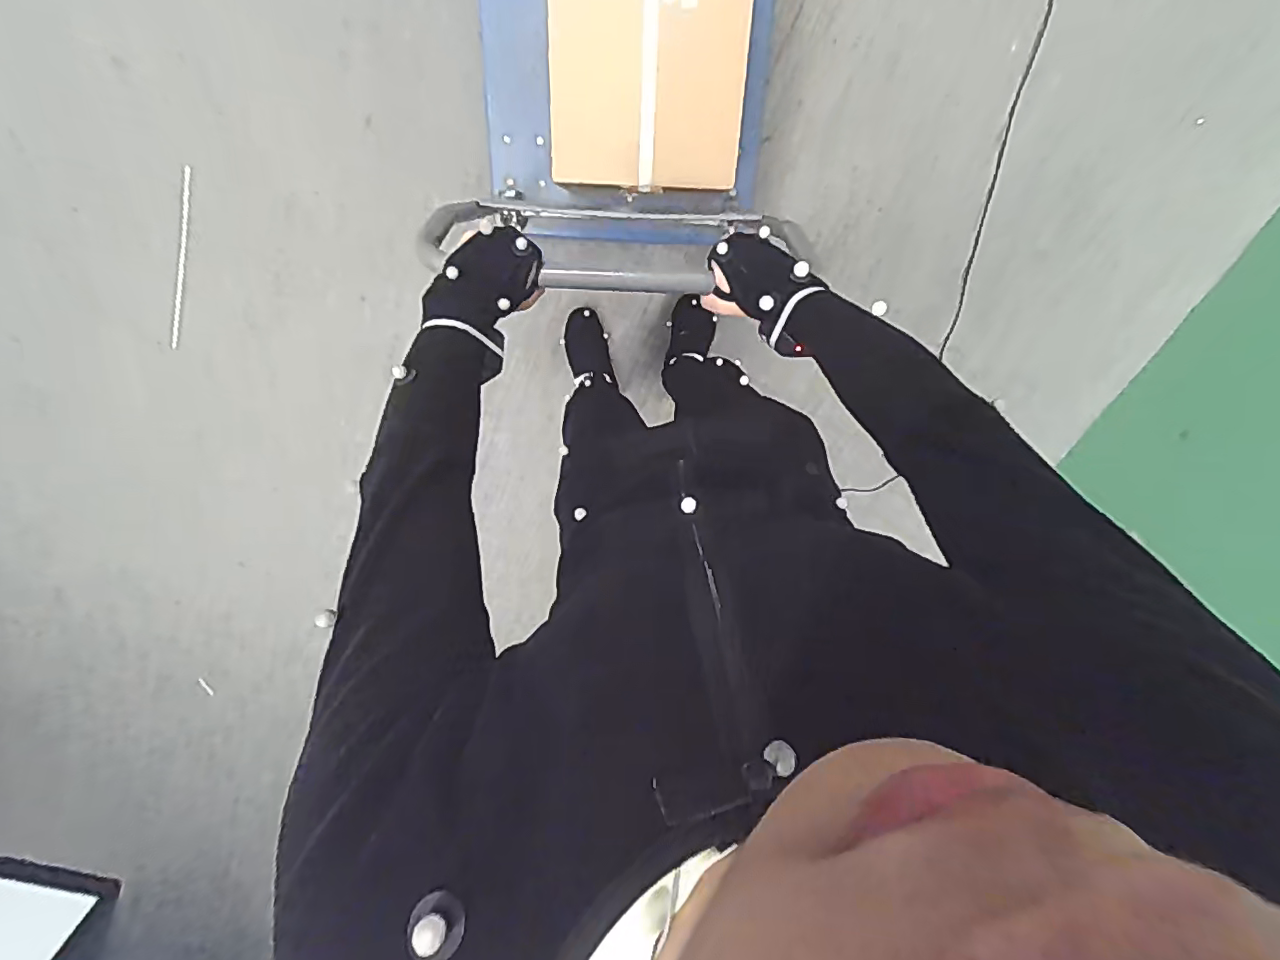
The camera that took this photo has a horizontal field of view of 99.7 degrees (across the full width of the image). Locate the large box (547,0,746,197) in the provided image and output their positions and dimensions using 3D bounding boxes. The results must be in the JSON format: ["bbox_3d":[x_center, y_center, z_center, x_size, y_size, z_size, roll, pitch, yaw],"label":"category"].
[{"bbox_3d":[0.009,-0.752,0.991,0.320,0.320,0.408,1,115,-2],"label":"large box"}]
